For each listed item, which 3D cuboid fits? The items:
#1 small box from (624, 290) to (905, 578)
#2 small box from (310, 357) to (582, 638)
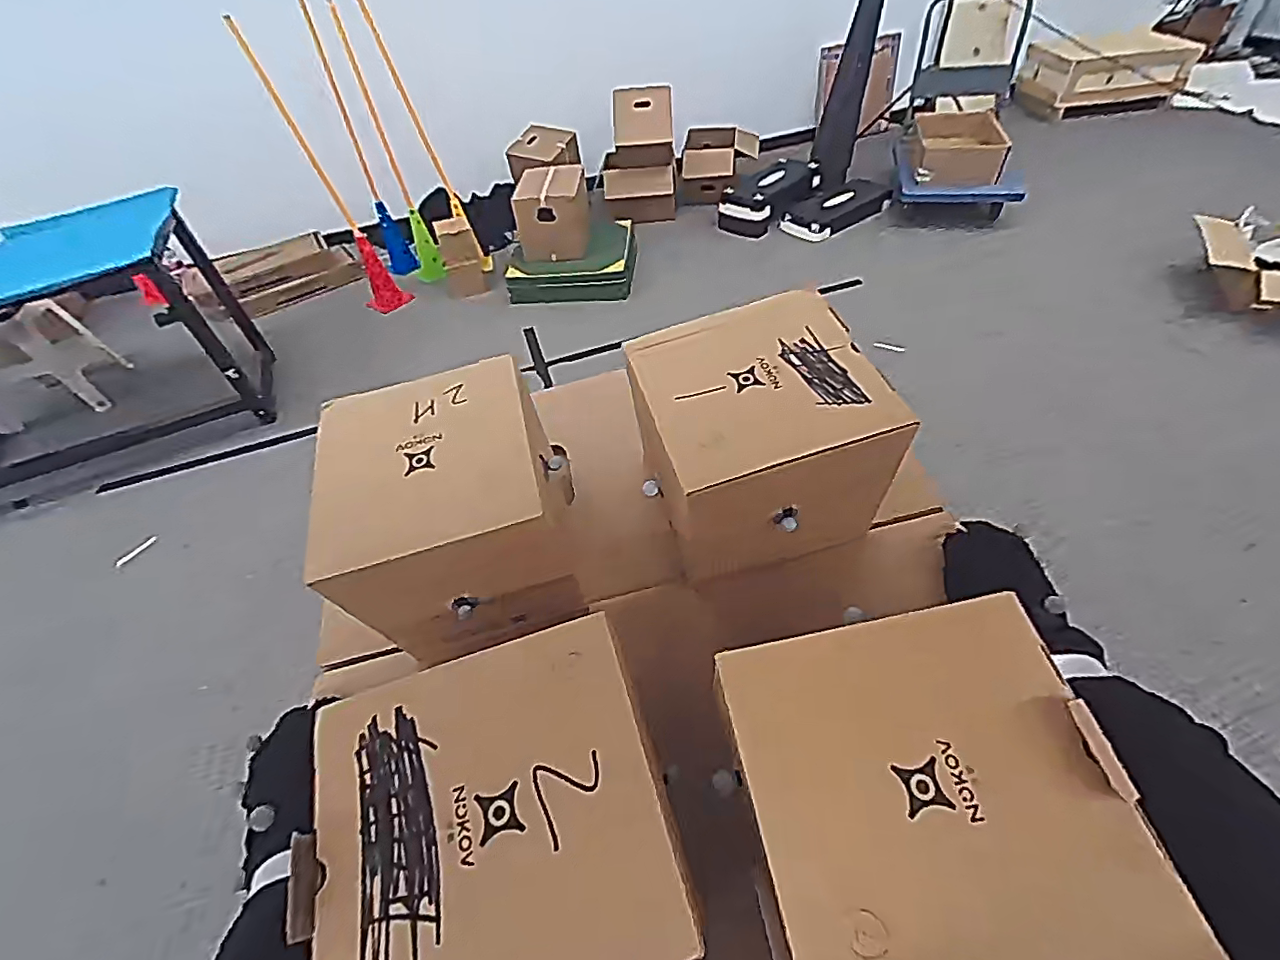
[{"bbox_3d":[0.096,-0.034,0.487,0.179,0.176,0.168,-16,56,-2],"label":"small box"},{"bbox_3d":[-0.158,0.026,0.484,0.168,0.176,0.179,-15,55,-3],"label":"small box"}]
